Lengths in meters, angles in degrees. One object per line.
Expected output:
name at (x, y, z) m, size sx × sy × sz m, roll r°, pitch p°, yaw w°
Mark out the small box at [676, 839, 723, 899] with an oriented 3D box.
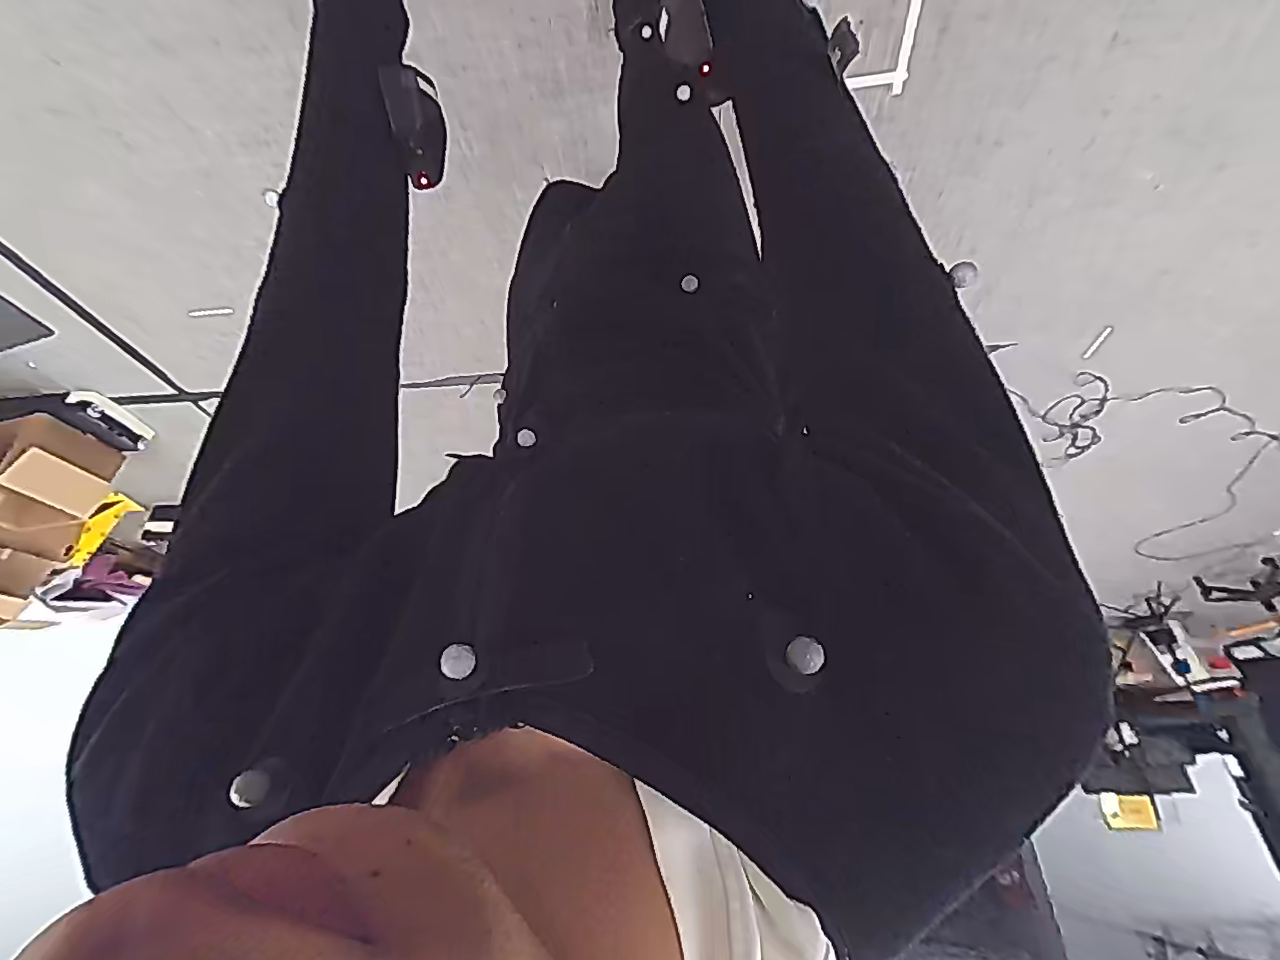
small box at (0.225, 1.466, 2.048) m, size 0.168 × 0.176 × 0.179 m, roll -3°, pitch 150°, yaw 6°
